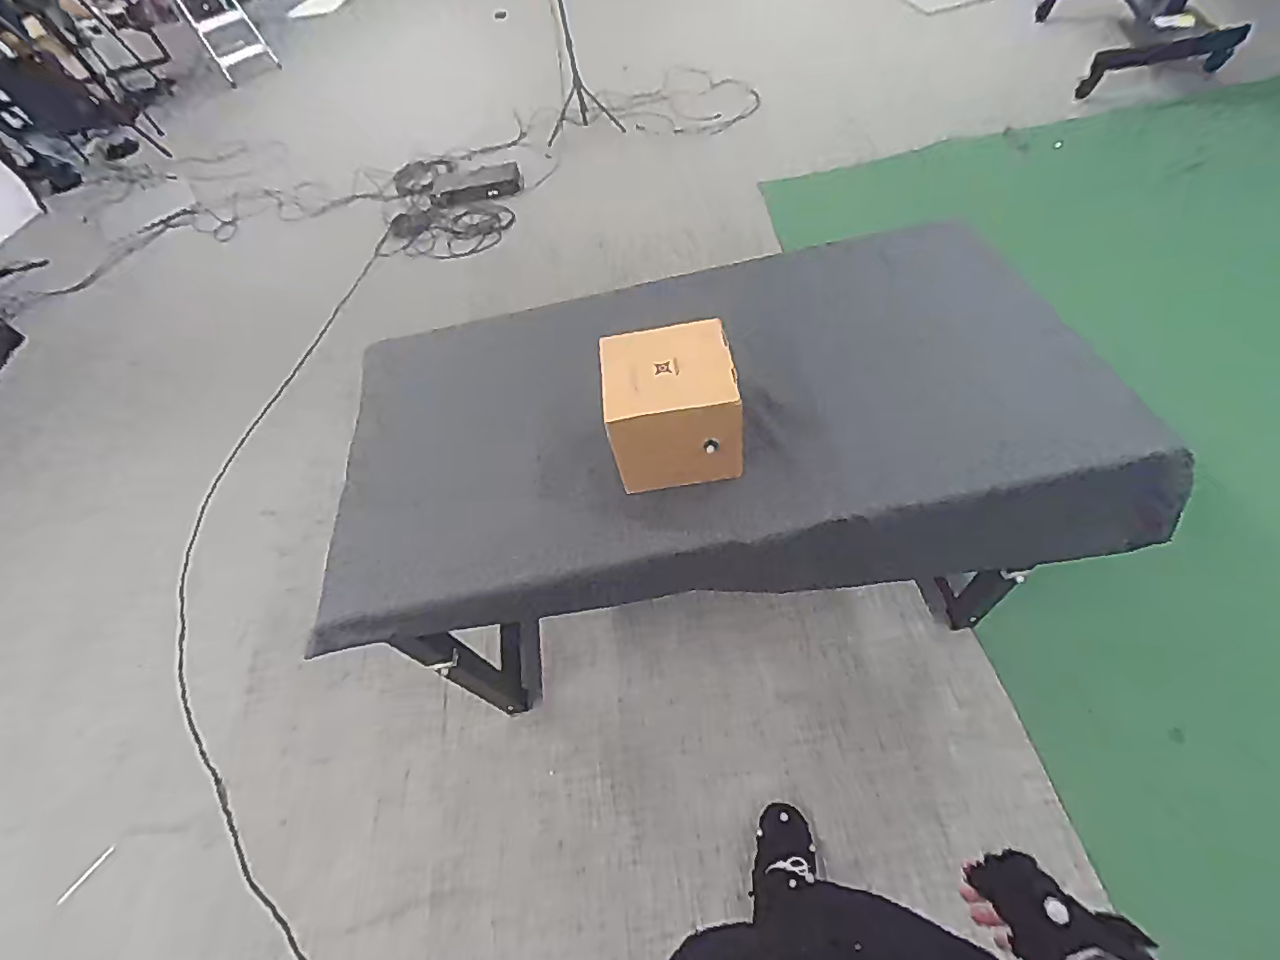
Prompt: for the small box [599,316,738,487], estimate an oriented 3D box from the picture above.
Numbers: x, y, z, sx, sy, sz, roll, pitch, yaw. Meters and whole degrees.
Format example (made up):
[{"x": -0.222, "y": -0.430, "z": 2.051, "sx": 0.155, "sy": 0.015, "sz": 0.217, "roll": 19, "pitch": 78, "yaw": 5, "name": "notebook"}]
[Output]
[{"x": 0.045, "y": -0.109, "z": 0.795, "sx": 0.179, "sy": 0.176, "sz": 0.168, "roll": -10, "pitch": 54, "yaw": 5, "name": "small box"}]
